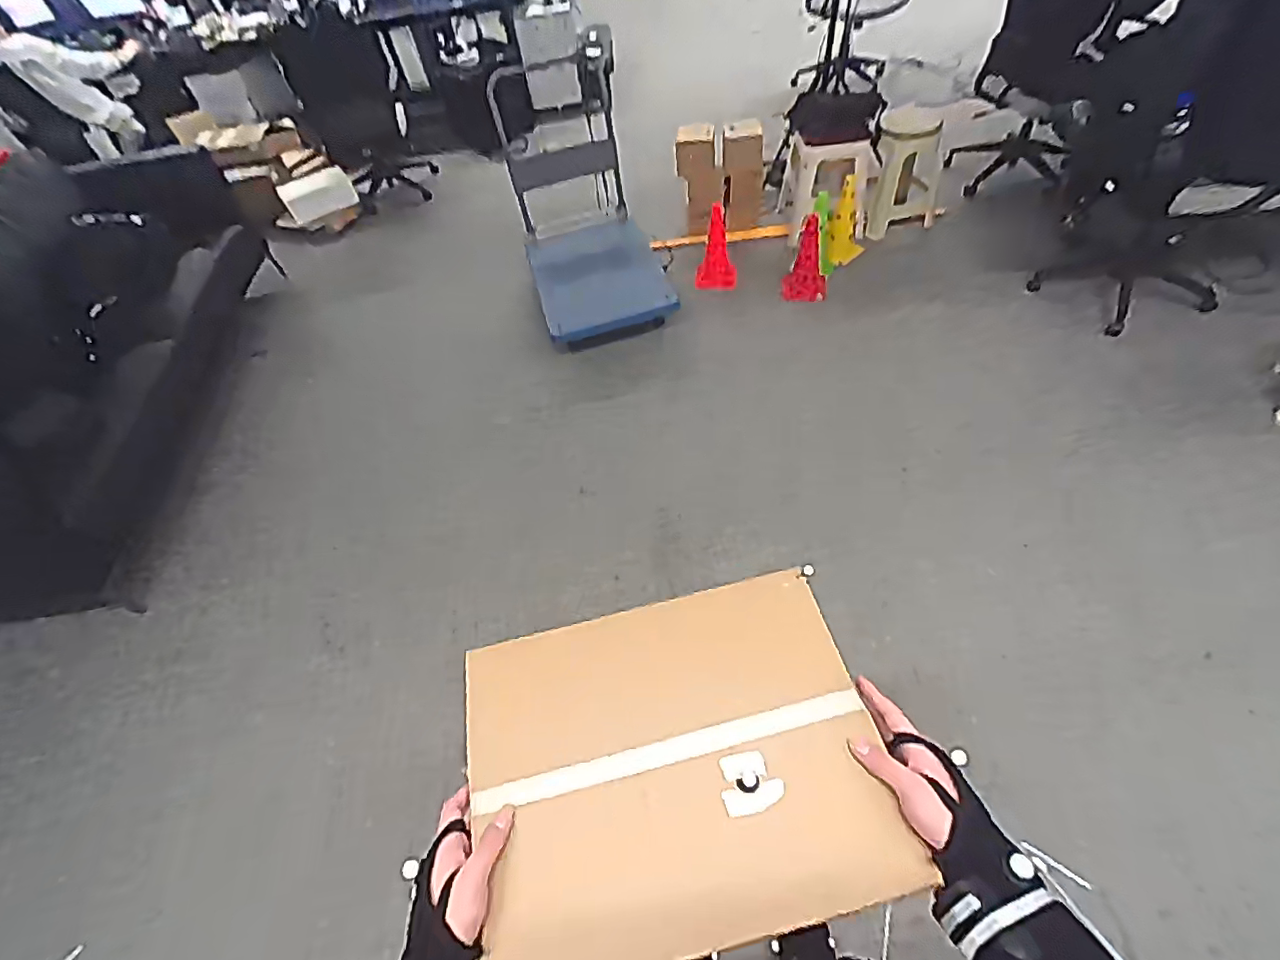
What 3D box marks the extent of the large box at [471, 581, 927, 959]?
[{"bbox_3d":[0.043,0.376,0.670,0.408,0.320,0.320,-14,54,-4],"label":"large box"}]
